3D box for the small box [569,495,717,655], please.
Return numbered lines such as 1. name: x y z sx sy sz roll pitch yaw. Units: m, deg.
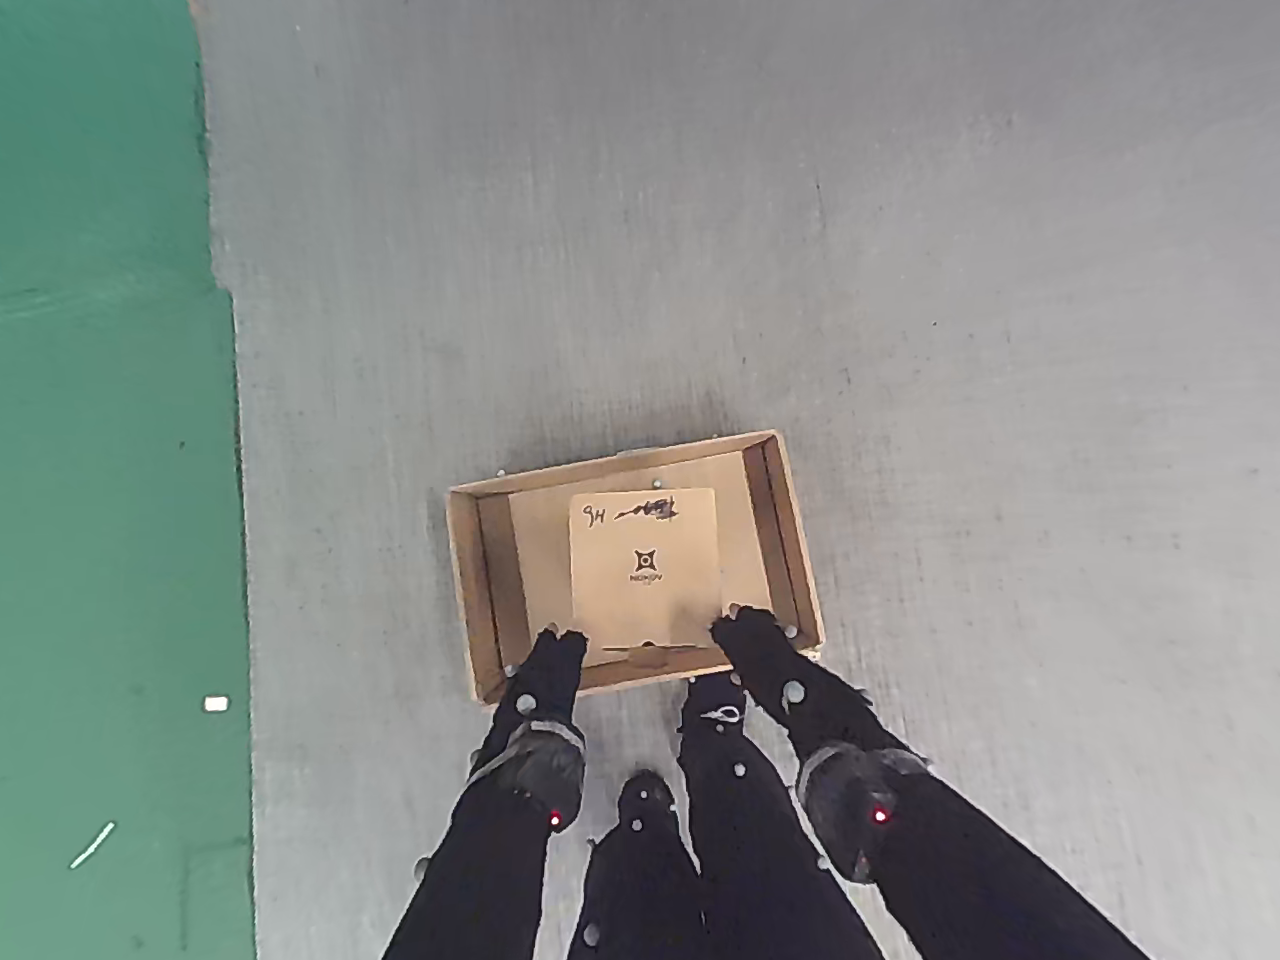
1. small box: 0.009 0.117 0.701 0.168 0.176 0.179 -5 83 4
